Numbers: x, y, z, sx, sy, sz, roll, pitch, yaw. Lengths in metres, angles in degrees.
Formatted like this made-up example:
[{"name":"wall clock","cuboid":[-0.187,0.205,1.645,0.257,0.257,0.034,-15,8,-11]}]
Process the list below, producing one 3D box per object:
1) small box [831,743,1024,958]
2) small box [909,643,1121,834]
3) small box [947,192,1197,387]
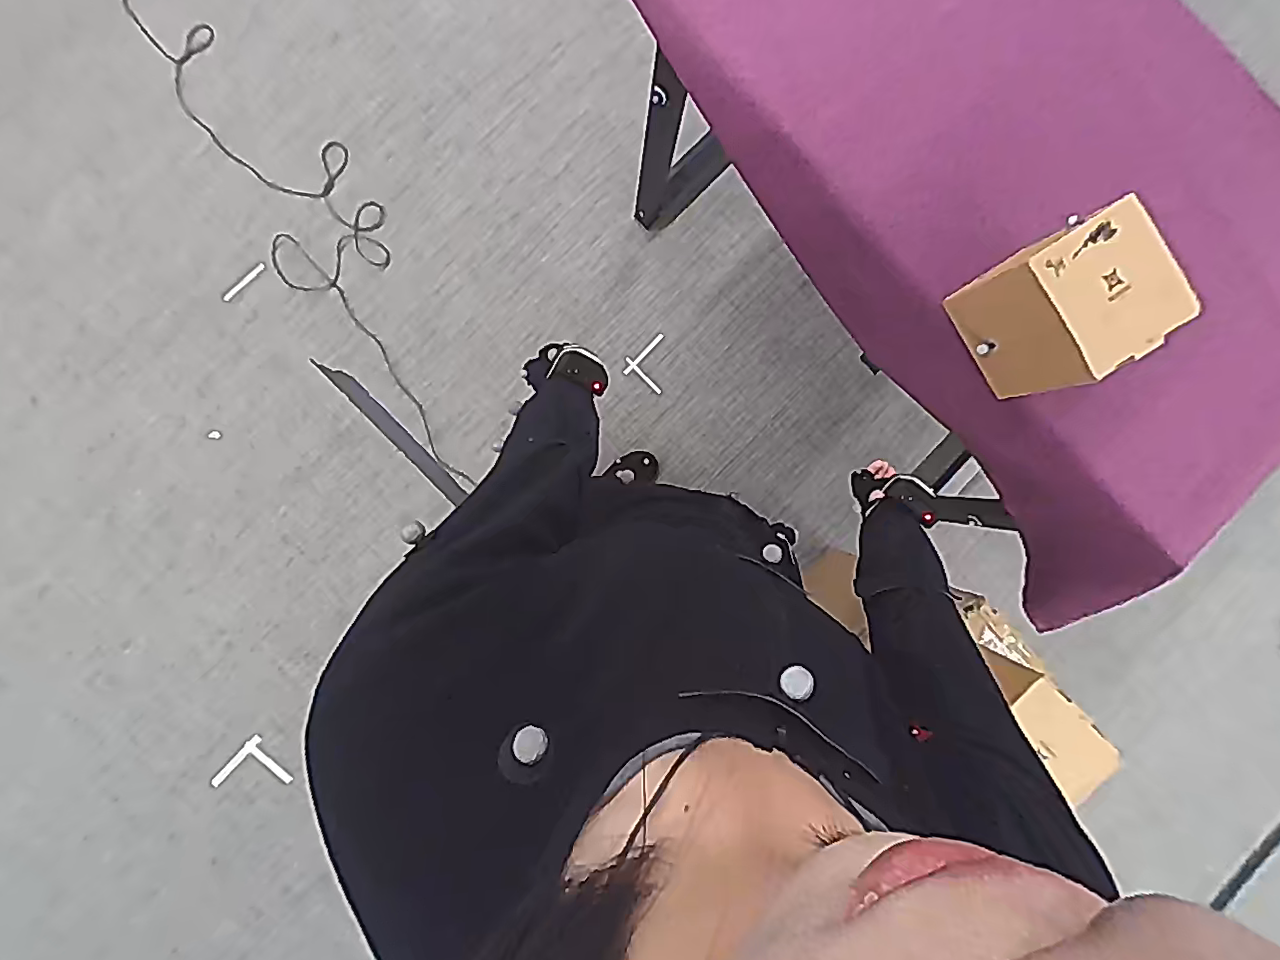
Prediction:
[{"name":"small box","cuboid":[0.425,0.557,0.840,0.179,0.176,0.168,-41,92,-5]},{"name":"small box","cuboid":[0.571,0.389,0.850,0.179,0.176,0.168,-44,91,-1]},{"name":"small box","cuboid":[0.574,-0.241,0.742,0.168,0.176,0.179,-32,93,-4]}]
